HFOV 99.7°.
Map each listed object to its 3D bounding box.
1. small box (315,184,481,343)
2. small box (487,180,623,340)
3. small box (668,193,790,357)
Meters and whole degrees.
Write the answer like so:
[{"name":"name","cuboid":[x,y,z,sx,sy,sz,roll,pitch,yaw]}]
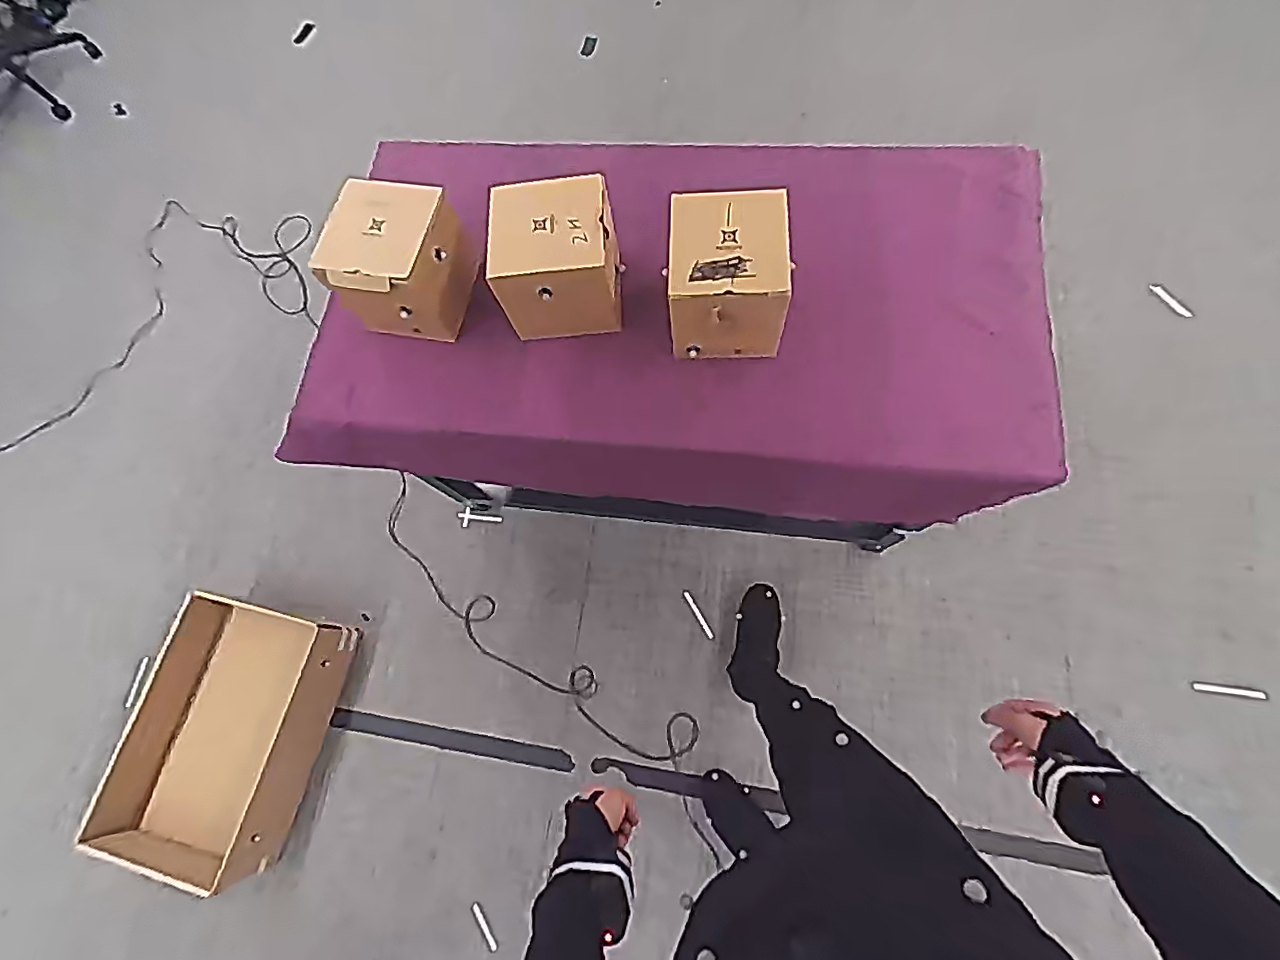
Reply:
[{"name":"small box","cuboid":[-0.385,-0.350,0.896,0.168,0.176,0.179,10,73,8]},{"name":"small box","cuboid":[-0.126,-0.340,0.864,0.179,0.176,0.168,-4,73,5]},{"name":"small box","cuboid":[0.133,-0.300,0.823,0.168,0.176,0.179,1,72,6]}]
